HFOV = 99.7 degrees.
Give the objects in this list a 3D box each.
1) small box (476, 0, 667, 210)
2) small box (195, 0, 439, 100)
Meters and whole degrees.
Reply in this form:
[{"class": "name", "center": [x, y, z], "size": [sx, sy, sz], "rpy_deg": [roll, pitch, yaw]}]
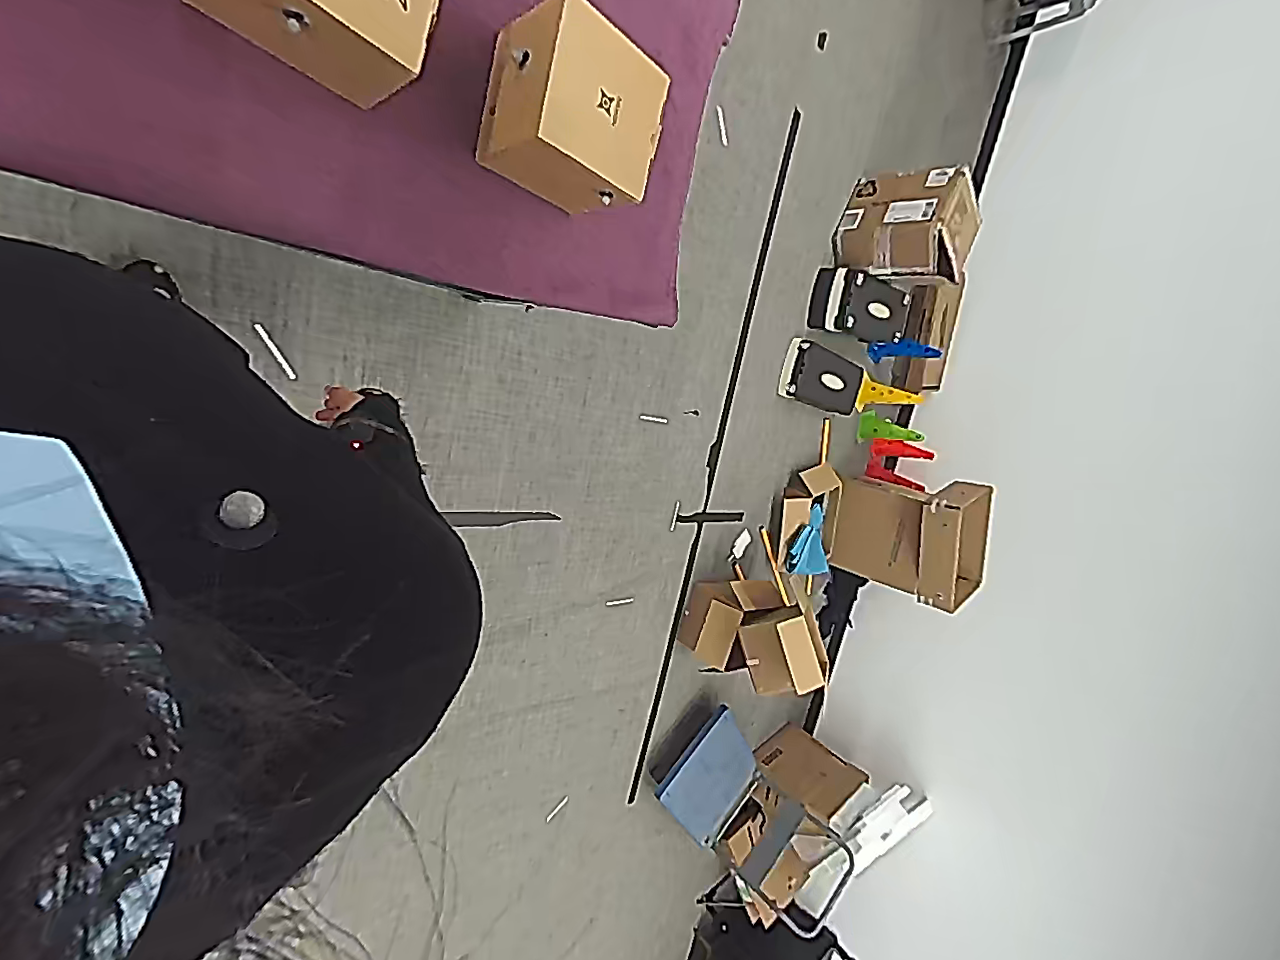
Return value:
[{"class": "small box", "center": [-0.096, -0.484, 0.728], "size": [0.179, 0.176, 0.168], "rpy_deg": [7, 100, -46]}, {"class": "small box", "center": [-0.304, -0.504, 0.515], "size": [0.179, 0.176, 0.168], "rpy_deg": [12, 97, -46]}]
